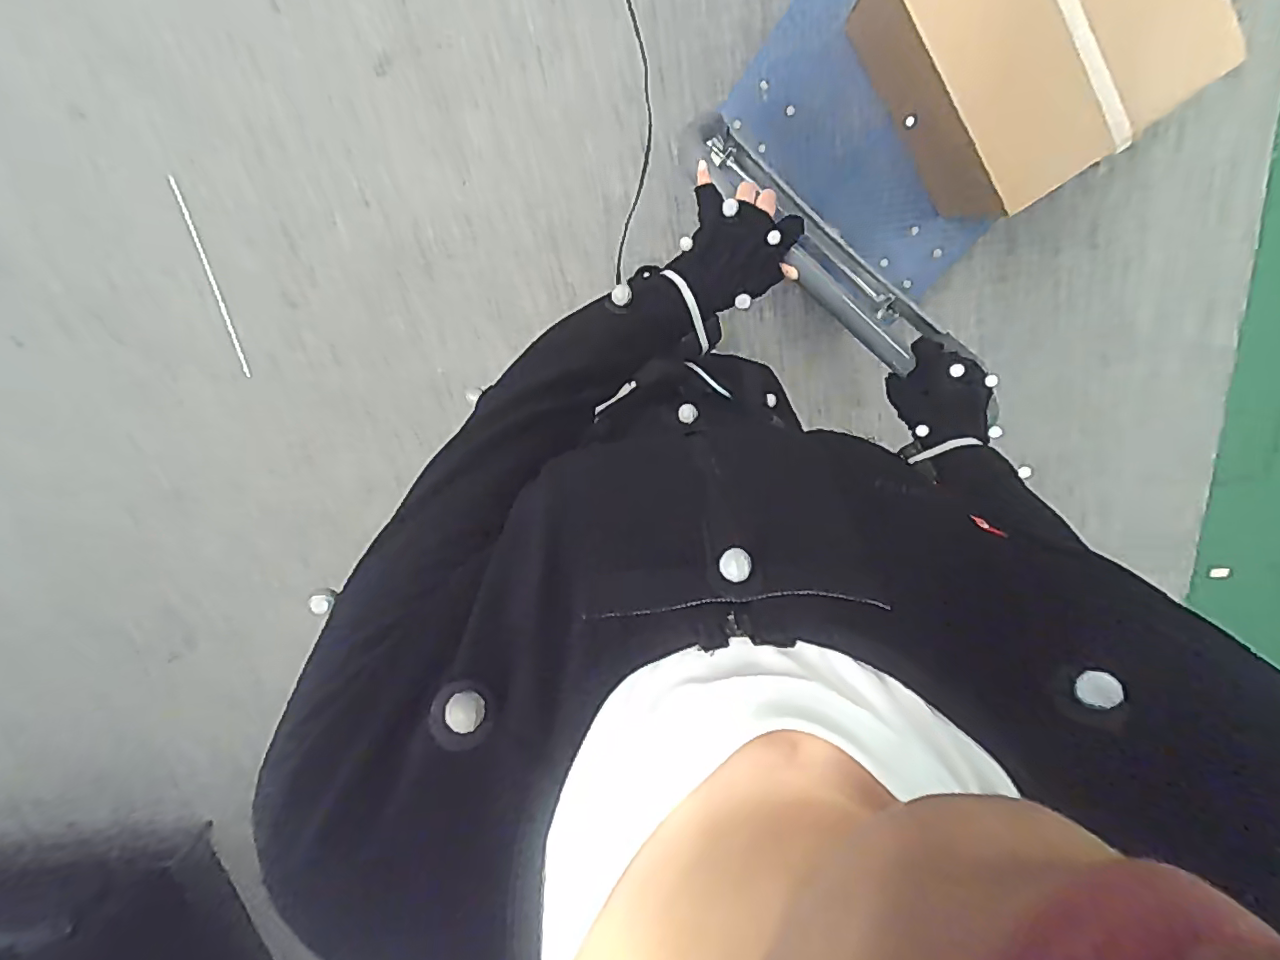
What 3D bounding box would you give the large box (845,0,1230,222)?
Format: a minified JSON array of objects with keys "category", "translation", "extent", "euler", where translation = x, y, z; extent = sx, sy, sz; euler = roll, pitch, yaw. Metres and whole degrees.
[{"category":"large box","translation":[0.591,-0.691,0.873],"extent":[0.320,0.320,0.408],"euler":[-32,106,22]}]
